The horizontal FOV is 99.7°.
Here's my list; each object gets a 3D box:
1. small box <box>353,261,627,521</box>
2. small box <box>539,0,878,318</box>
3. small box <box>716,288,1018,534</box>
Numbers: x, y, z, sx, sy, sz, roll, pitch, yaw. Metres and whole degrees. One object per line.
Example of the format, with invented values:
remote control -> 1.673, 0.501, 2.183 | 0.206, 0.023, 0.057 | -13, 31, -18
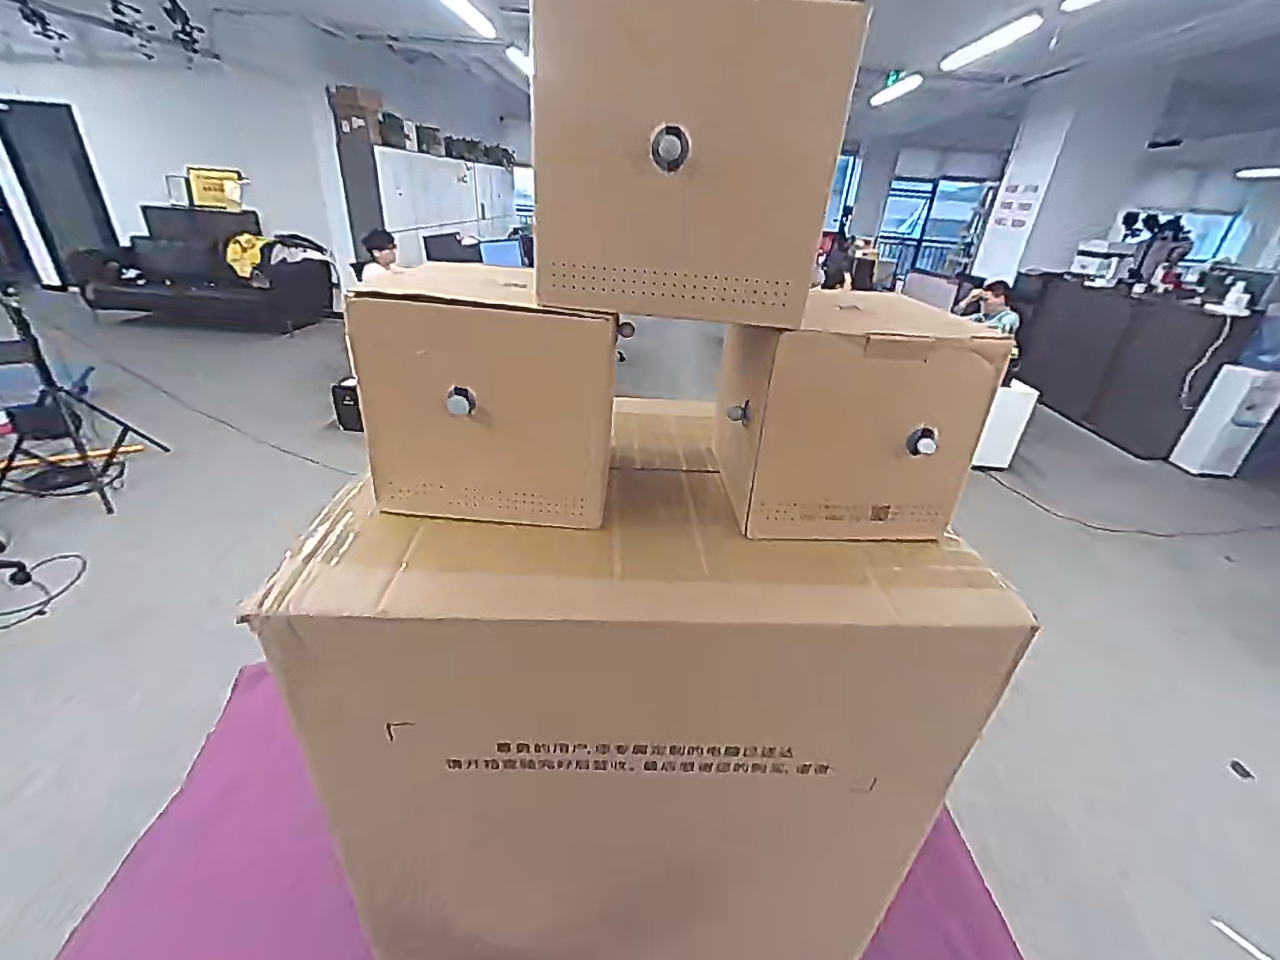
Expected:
small box -> -0.105, -0.079, 0.454 | 0.179, 0.176, 0.168 | 5, 28, -2
small box -> 0.034, -0.216, 0.379 | 0.179, 0.176, 0.168 | 5, 28, 2
small box -> 0.167, -0.065, 0.466 | 0.168, 0.176, 0.179 | 2, 27, -4
